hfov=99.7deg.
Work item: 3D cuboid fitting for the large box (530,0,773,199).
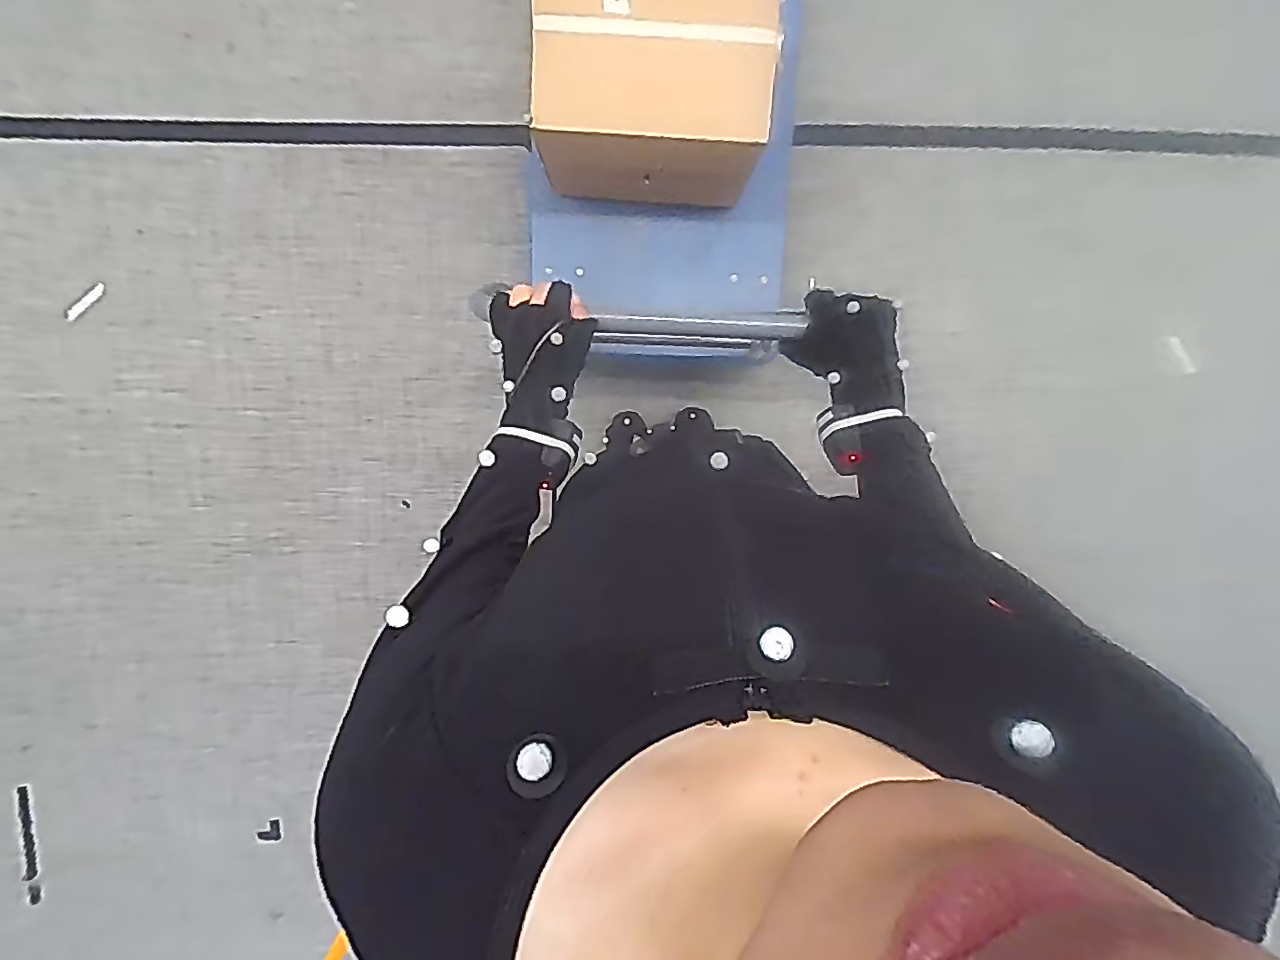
[{"bbox_3d":[0.019,-0.758,1.037,0.408,0.320,0.320,3,99,-1],"label":"large box"}]
